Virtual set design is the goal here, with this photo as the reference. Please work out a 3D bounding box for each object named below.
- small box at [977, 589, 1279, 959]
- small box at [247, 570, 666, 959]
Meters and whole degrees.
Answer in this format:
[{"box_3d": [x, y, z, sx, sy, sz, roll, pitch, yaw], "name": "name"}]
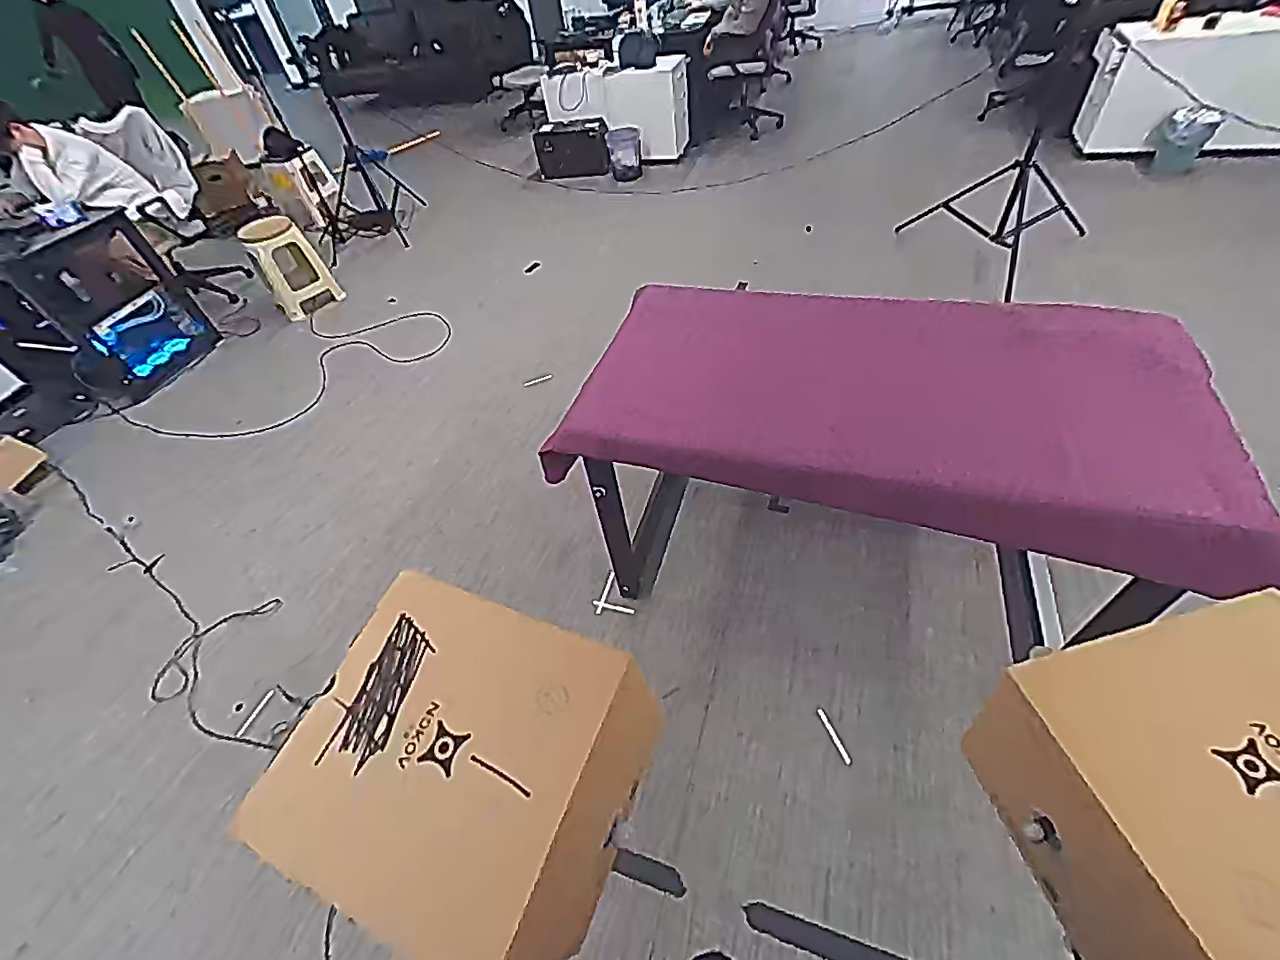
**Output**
[{"box_3d": [0.349, 0.202, 0.345, 0.179, 0.176, 0.168, -17, 46, 2], "name": "small box"}, {"box_3d": [-0.097, 0.190, 0.370, 0.179, 0.176, 0.168, 15, 60, 20], "name": "small box"}]
